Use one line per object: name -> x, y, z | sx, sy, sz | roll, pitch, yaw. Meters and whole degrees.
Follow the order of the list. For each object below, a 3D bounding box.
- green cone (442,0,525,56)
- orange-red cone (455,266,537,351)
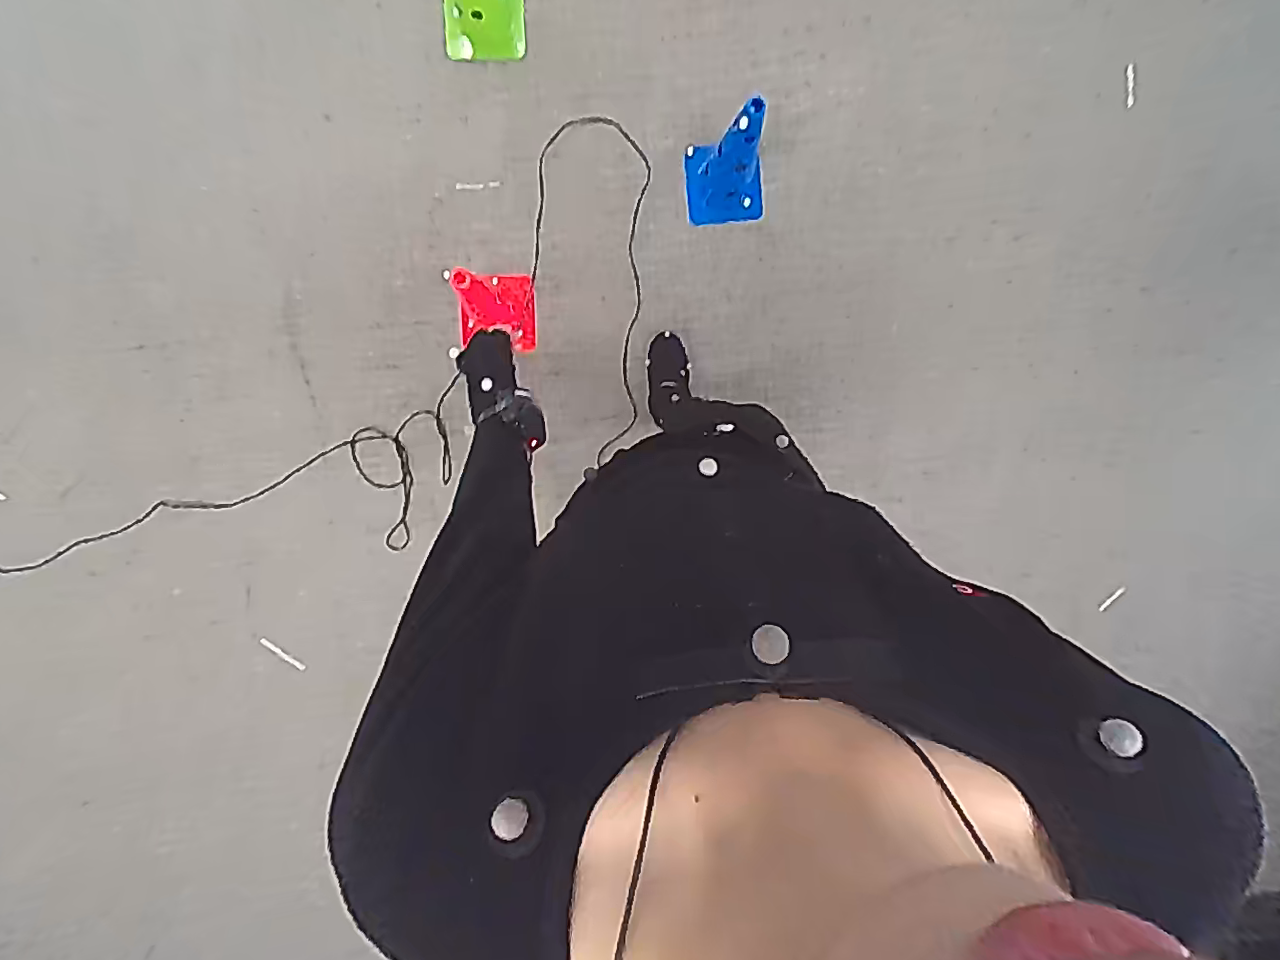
green cone -> -0.390, -1.157, 1.187 | 0.200, 0.368, 0.202 | -3, 97, -1
orange-red cone -> -0.366, -0.430, 1.264 | 0.198, 0.360, 0.199 | -1, 94, -3
